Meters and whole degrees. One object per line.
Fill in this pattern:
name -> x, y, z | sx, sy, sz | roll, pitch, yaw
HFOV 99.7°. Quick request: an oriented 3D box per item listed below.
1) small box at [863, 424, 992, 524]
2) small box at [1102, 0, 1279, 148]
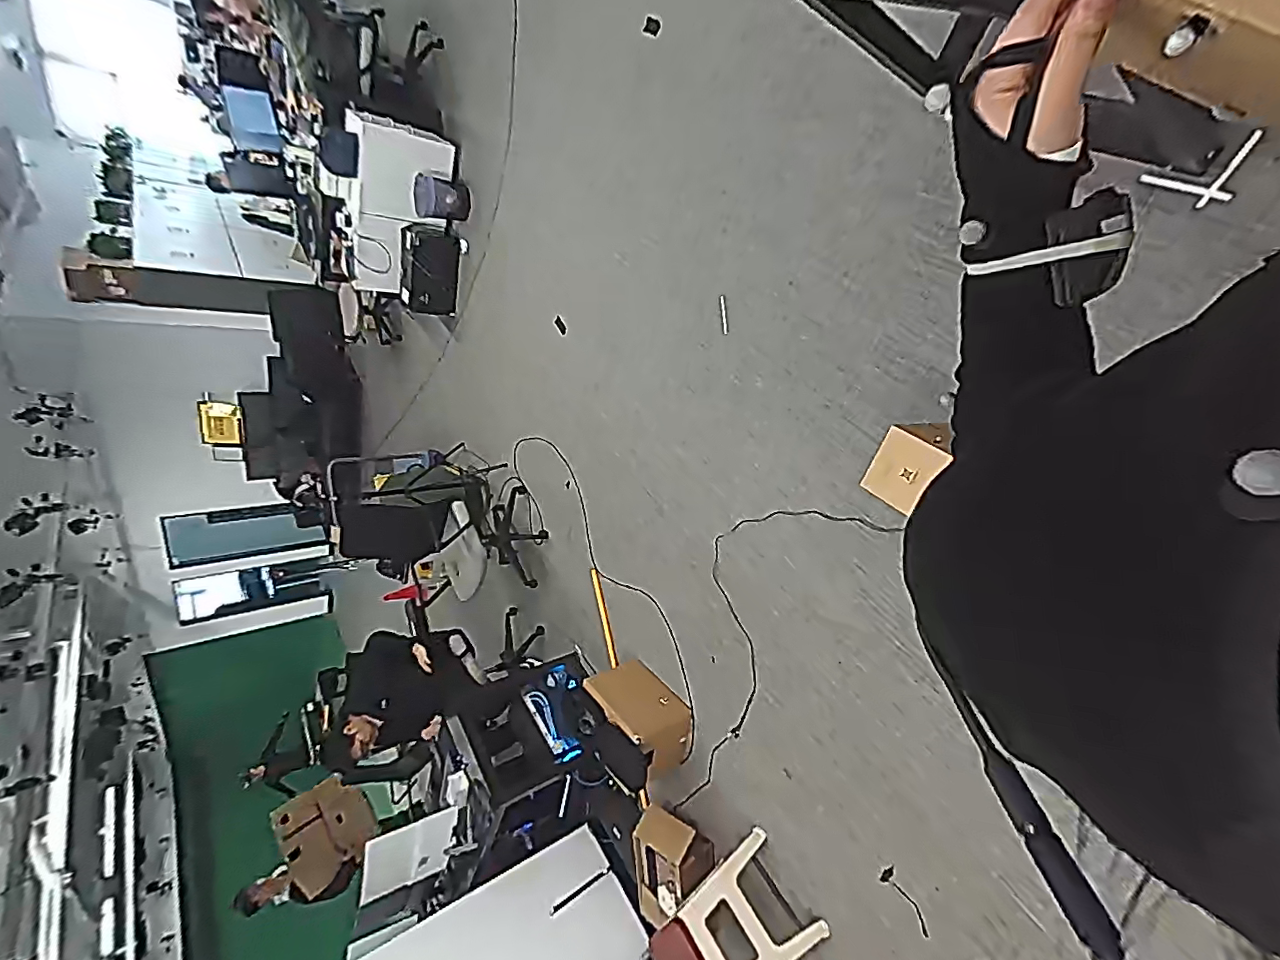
small box -> 0.665, -0.023, 1.249 | 0.179, 0.176, 0.168 | 43, 126, 40
small box -> 0.371, -0.300, 0.264 | 0.168, 0.176, 0.179 | 47, 130, 19
